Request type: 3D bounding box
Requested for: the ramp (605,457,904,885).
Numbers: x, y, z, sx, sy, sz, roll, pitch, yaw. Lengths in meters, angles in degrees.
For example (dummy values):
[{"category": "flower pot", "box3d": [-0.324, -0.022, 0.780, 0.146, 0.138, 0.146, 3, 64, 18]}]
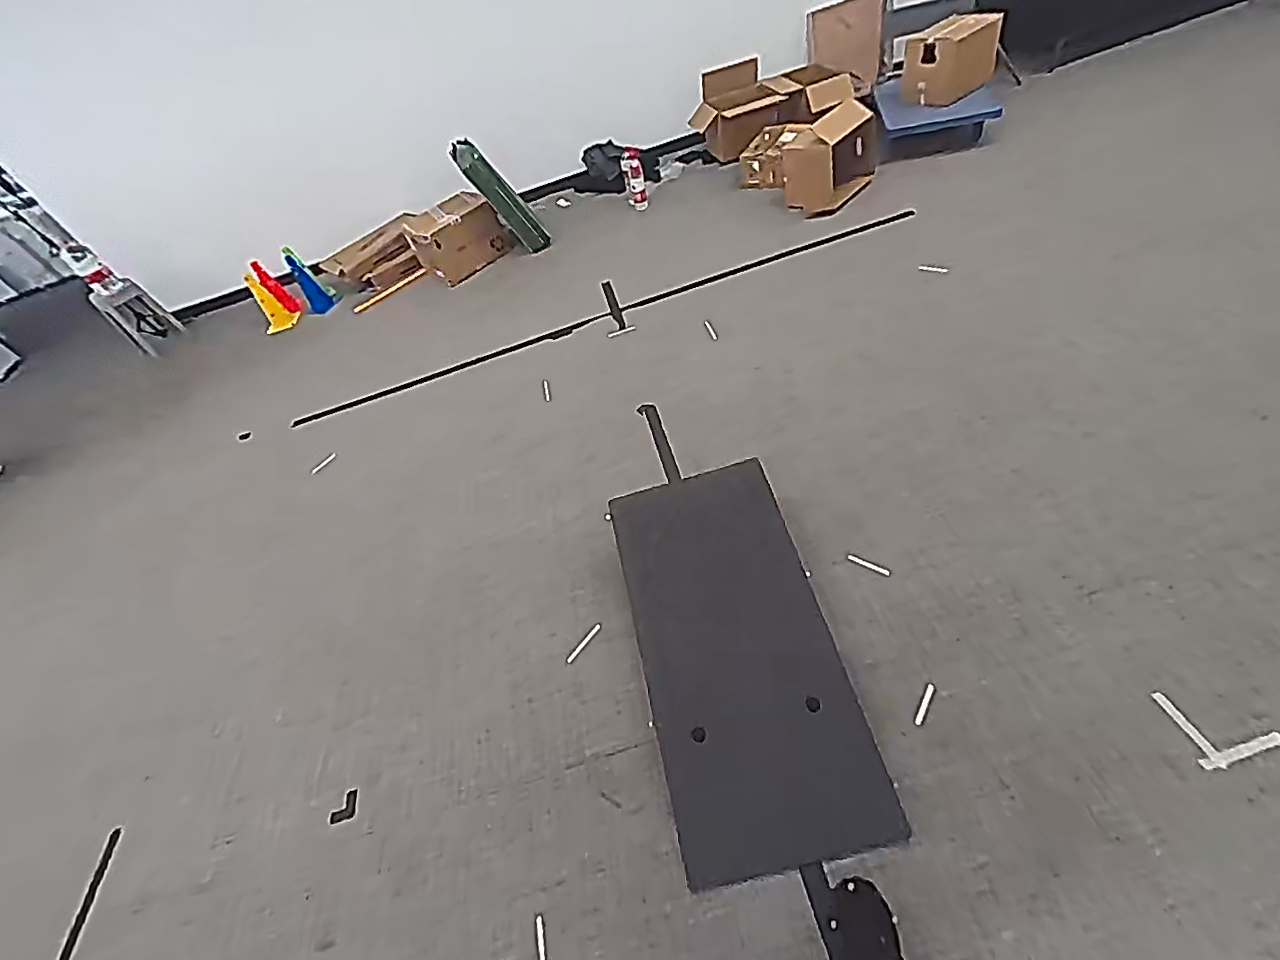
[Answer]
[{"category": "ramp", "box3d": [0.233, 0.405, 1.425, 0.509, 0.206, 0.991, -17, 48, 1]}]
